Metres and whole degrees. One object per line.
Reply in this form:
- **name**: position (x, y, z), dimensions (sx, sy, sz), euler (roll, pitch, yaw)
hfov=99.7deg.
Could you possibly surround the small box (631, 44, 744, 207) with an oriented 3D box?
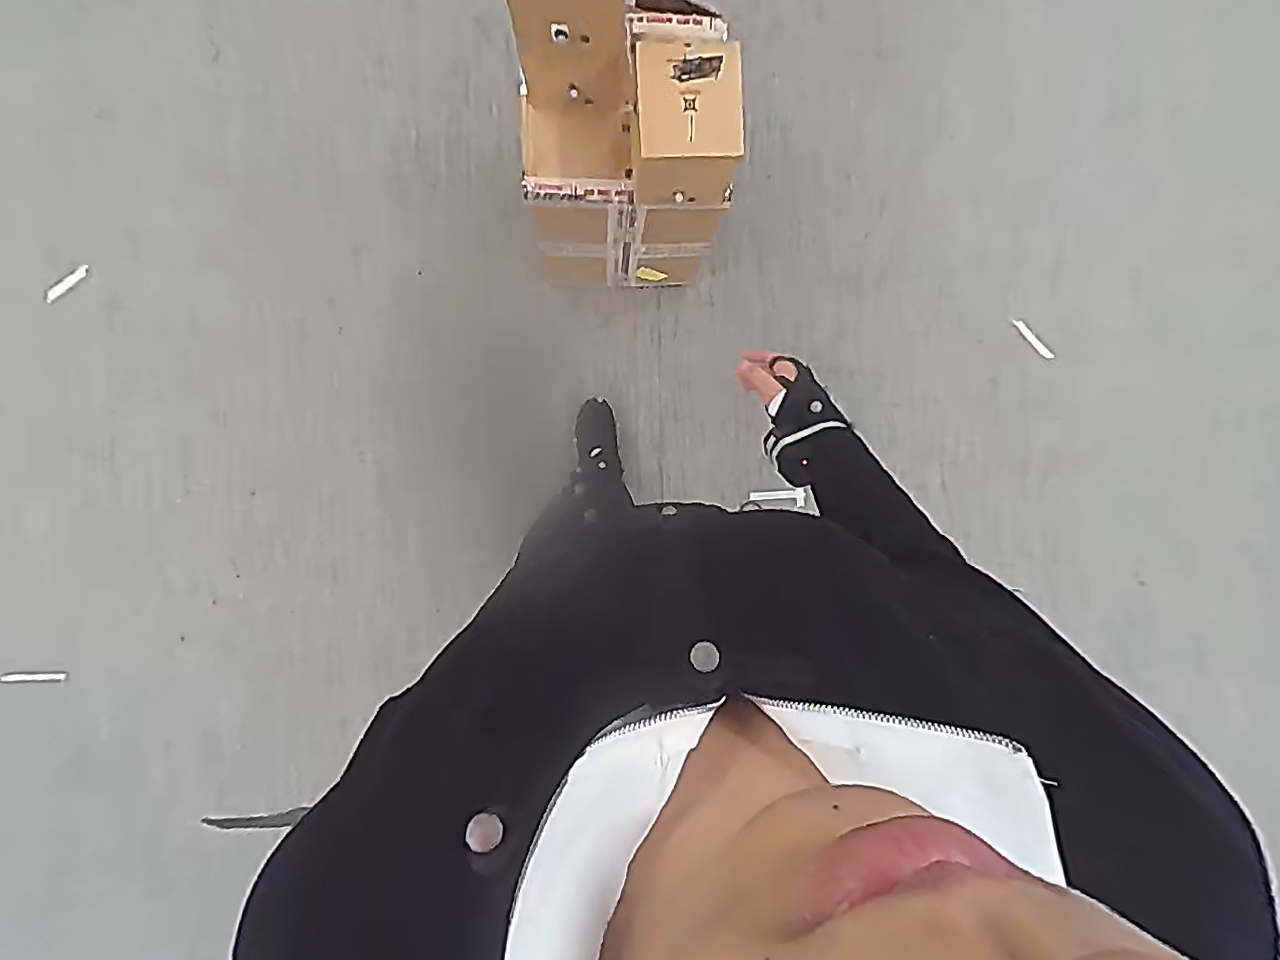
- **small box**: position (0.073, -0.590, 0.919), dimensions (0.168, 0.176, 0.179), euler (-3, 94, -4)

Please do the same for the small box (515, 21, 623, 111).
- **small box**: position (-0.113, -0.758, 0.901), dimensions (0.168, 0.176, 0.179), euler (-1, 93, -2)

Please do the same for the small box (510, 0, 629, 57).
- **small box**: position (-0.099, -0.730, 0.740), dimensions (0.168, 0.176, 0.179), euler (-2, 94, -1)
